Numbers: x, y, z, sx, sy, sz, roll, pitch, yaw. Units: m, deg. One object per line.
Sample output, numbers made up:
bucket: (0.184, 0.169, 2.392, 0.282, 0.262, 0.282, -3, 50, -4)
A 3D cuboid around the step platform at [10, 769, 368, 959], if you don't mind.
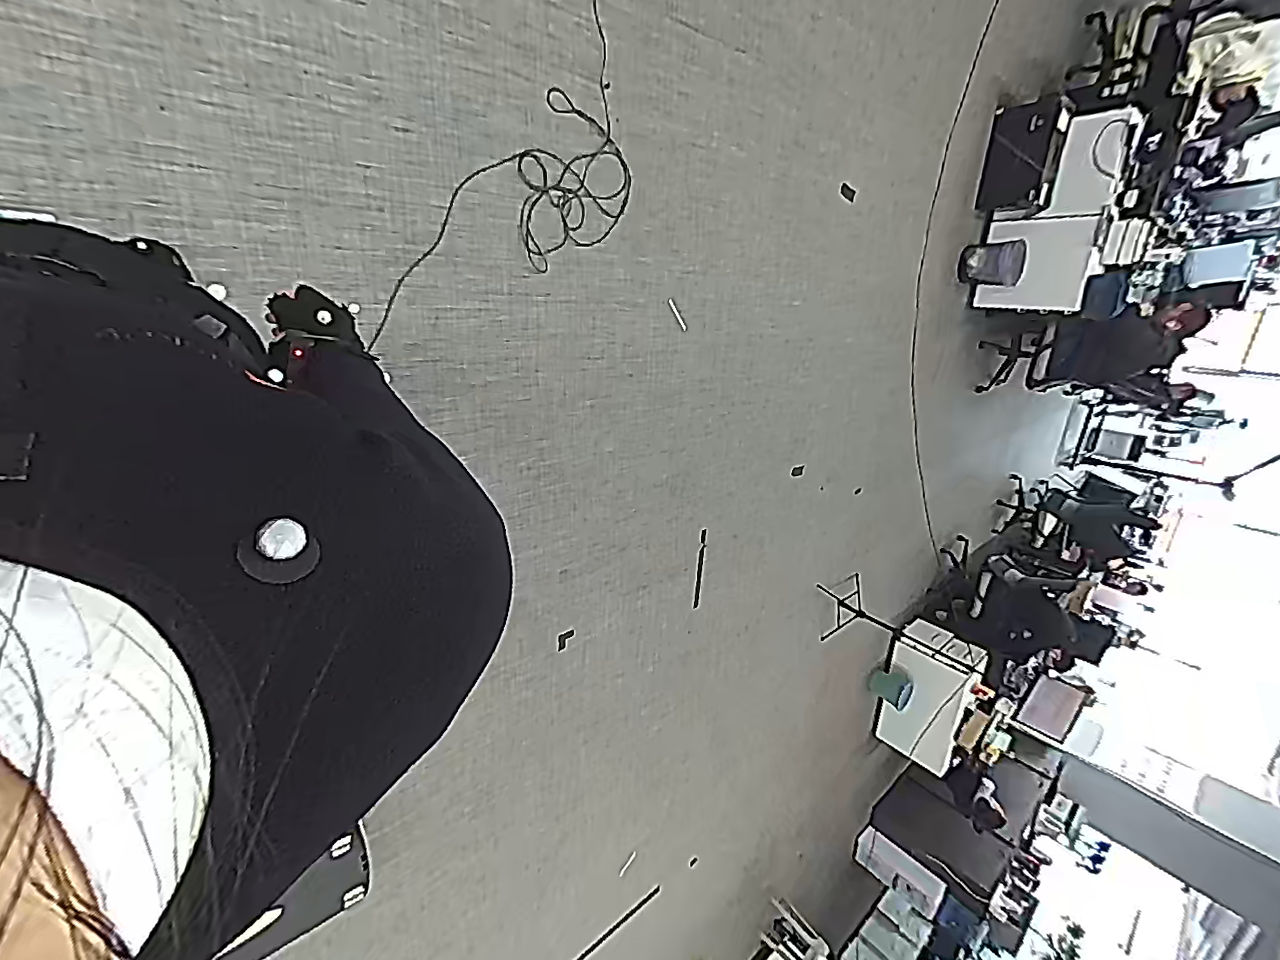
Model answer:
step platform: (-1.071, 1.055, 1.368, 0.684, 0.204, 0.286, -15, 115, -37)
